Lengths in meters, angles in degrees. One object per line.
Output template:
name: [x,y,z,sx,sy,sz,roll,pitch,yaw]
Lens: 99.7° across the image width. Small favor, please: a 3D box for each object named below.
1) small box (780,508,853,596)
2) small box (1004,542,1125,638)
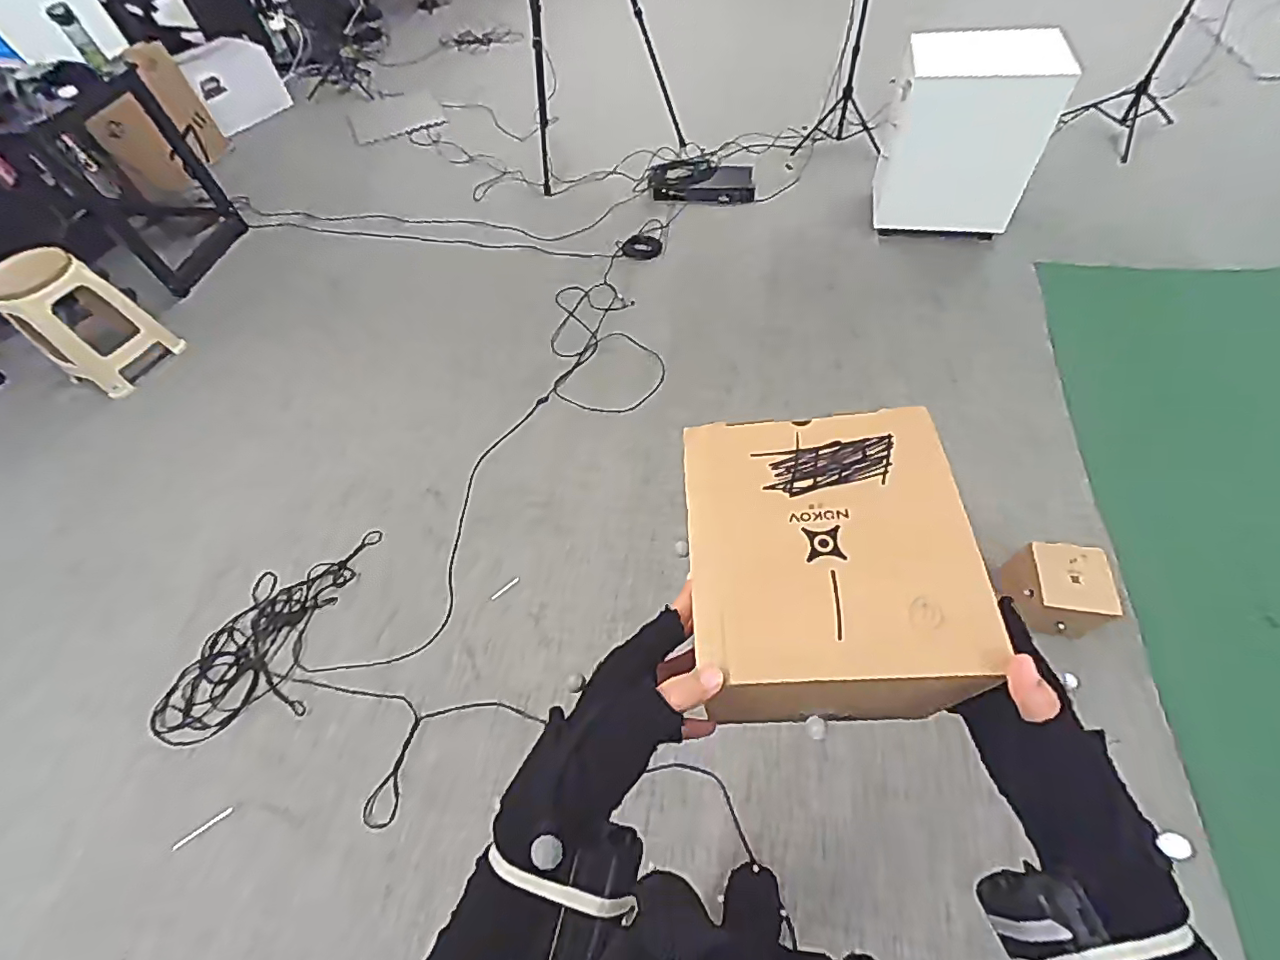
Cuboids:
small box: [0.476,0.199,1.469,0.168,0.176,0.179,6,57,11]
small box: [1.048,0.279,1.351,0.168,0.176,0.179,7,57,10]
